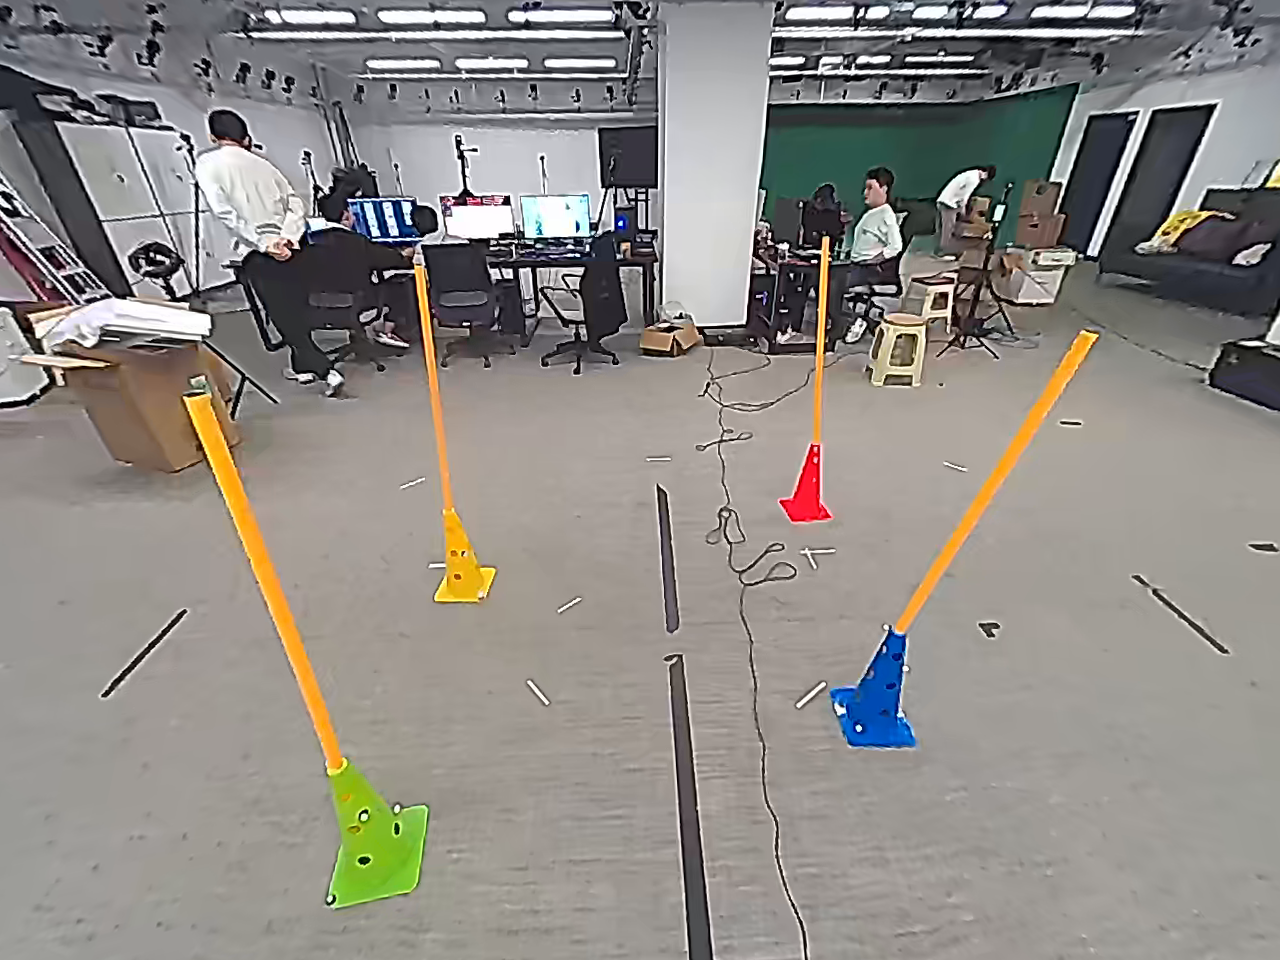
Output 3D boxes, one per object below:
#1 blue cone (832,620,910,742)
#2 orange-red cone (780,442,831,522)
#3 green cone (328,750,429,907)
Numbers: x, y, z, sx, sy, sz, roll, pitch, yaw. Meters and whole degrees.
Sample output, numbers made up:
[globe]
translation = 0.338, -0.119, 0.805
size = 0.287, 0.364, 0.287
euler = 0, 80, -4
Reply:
[blue cone]
translation = 0.687, 0.557, 1.539
size = 0.193, 0.380, 0.192
euler = 0, 29, 2
[orange-red cone]
translation = 0.783, -0.007, 2.491
size = 0.199, 0.360, 0.198
euler = -5, 30, -4
[green cone]
translation = -0.627, 0.749, 1.224
size = 0.200, 0.368, 0.202
euler = -6, 28, -10
